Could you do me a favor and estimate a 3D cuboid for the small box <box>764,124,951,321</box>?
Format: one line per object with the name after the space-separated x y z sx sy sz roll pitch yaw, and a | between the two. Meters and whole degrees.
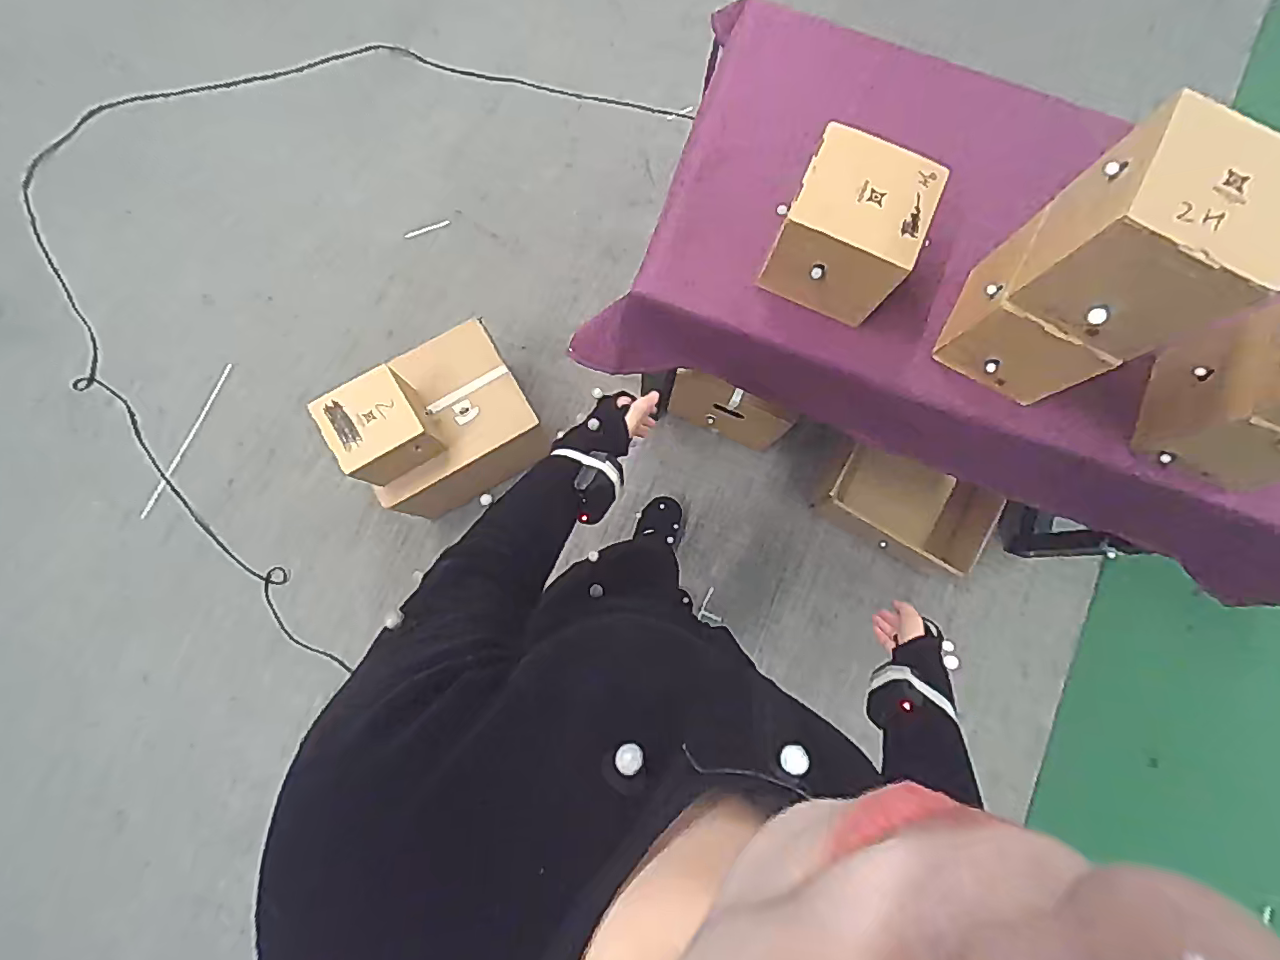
0.301 -0.360 0.788 0.179 0.176 0.168 24 82 3 | small box

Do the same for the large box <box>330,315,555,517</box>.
-0.482 -0.144 1.402 0.408 0.320 0.320 -30 84 -7 | large box

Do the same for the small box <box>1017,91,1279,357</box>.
0.582 -0.274 0.616 0.168 0.176 0.179 30 82 4 | small box

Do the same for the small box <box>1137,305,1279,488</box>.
0.863 -0.103 0.760 0.168 0.176 0.179 24 80 3 | small box

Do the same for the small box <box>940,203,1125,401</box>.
0.574 -0.243 0.778 0.168 0.176 0.179 29 82 3 | small box

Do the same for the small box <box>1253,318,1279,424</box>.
0.872 -0.130 0.599 0.179 0.176 0.168 26 80 3 | small box
